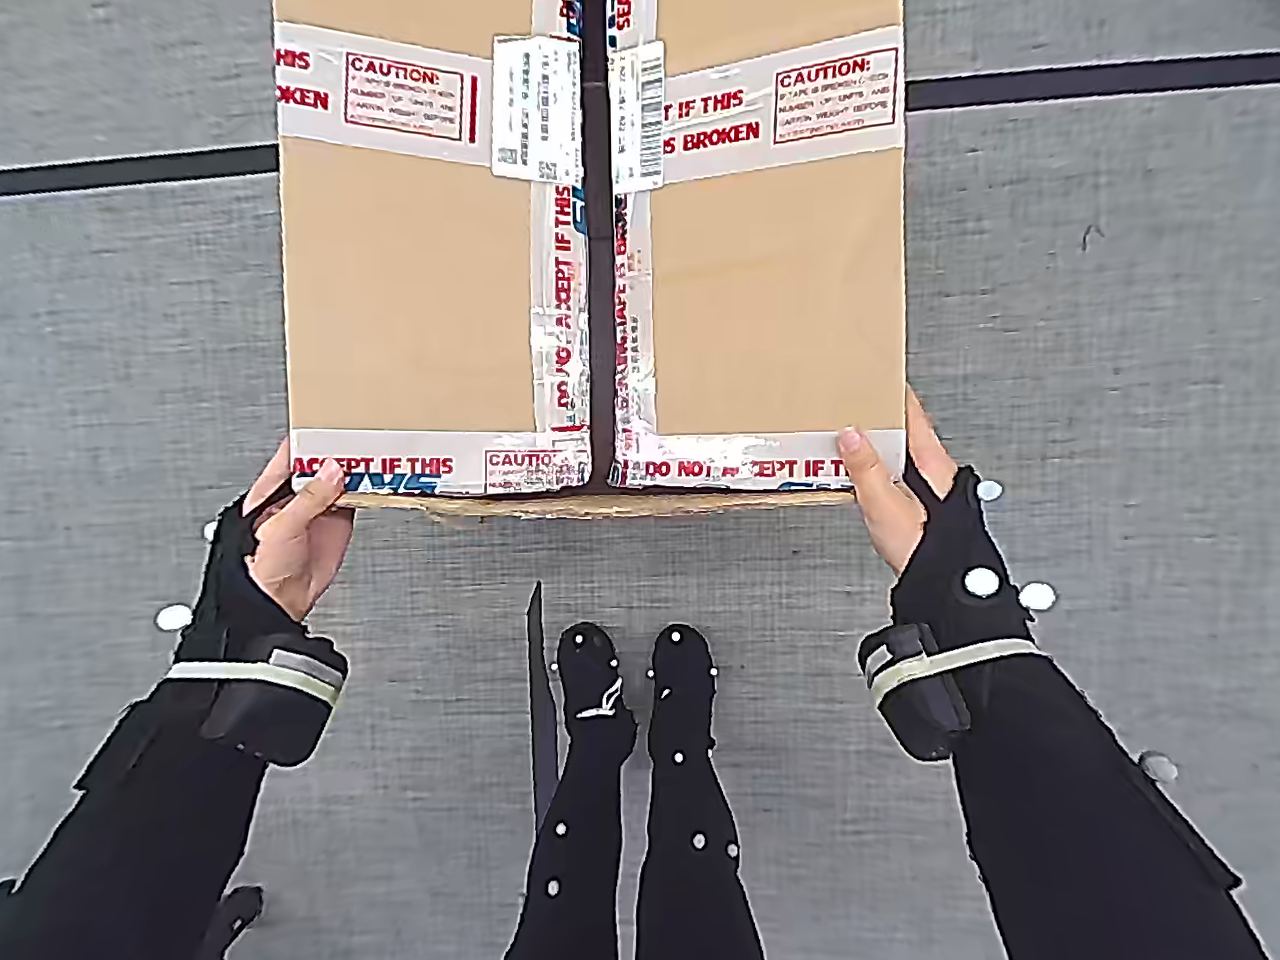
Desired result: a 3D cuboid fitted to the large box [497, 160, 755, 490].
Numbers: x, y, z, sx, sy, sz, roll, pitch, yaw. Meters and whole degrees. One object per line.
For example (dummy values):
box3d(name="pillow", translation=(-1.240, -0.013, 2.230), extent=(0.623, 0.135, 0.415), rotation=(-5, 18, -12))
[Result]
box3d(name="large box", translation=(-0.010, -0.205, 0.841), extent=(0.320, 0.320, 0.408), rotation=(-3, 94, 4))
